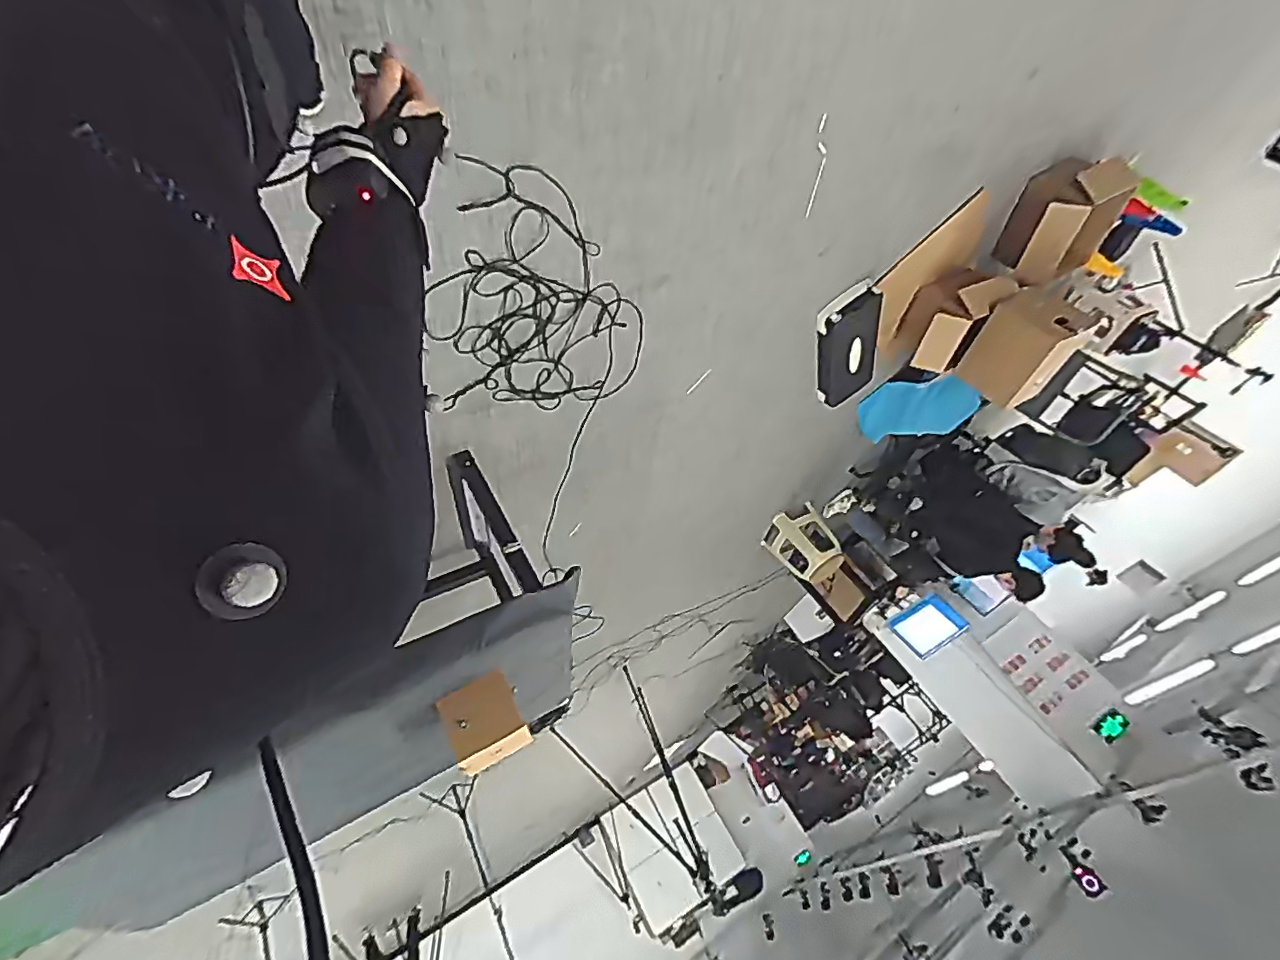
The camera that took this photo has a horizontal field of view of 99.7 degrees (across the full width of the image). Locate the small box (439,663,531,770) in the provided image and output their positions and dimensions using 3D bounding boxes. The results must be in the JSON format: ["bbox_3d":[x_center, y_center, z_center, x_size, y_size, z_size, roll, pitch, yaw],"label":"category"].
[{"bbox_3d":[-0.403,0.607,1.396,0.179,0.176,0.168,-24,148,-21],"label":"small box"}]
